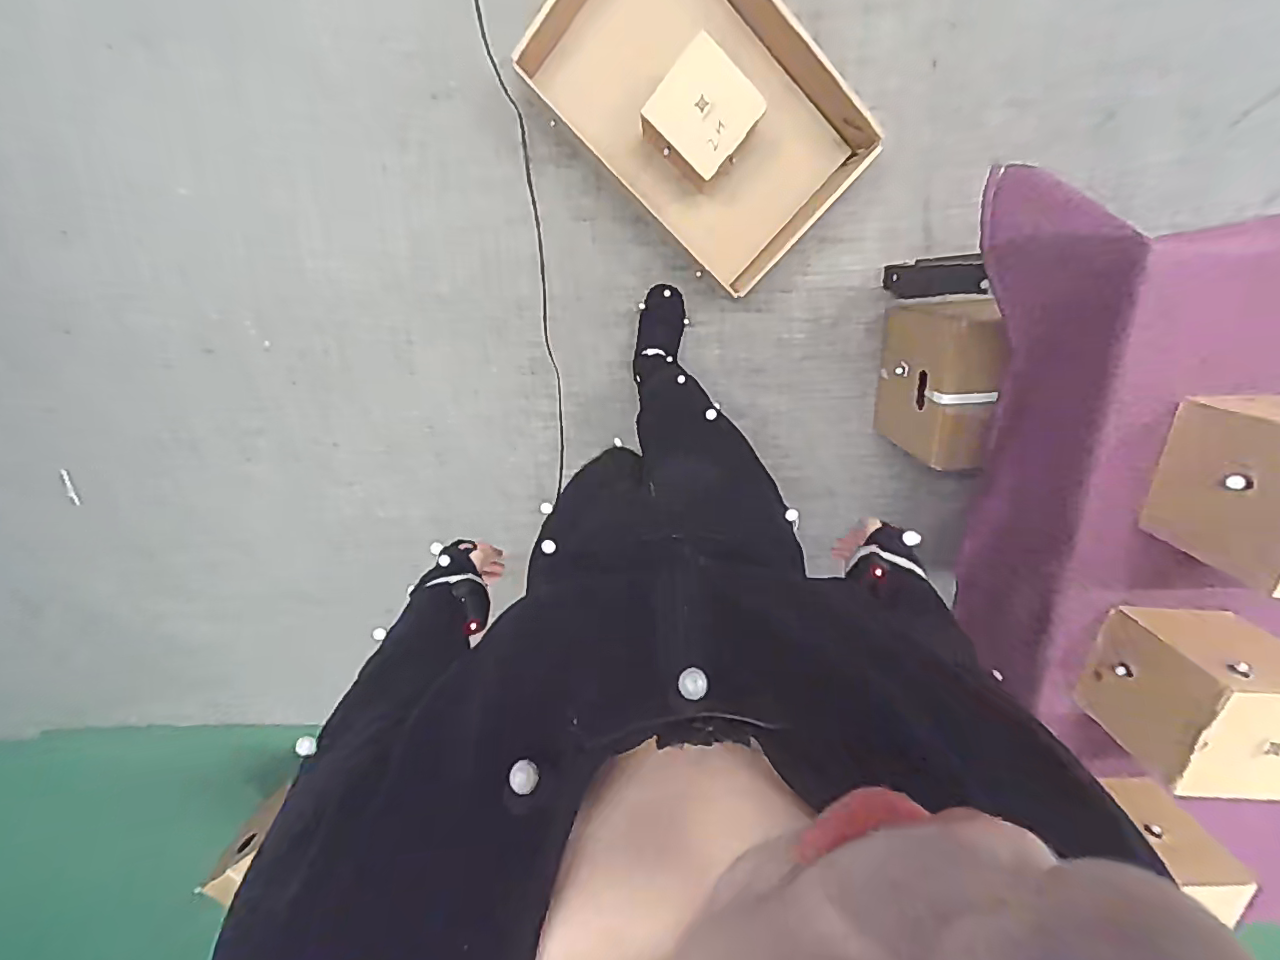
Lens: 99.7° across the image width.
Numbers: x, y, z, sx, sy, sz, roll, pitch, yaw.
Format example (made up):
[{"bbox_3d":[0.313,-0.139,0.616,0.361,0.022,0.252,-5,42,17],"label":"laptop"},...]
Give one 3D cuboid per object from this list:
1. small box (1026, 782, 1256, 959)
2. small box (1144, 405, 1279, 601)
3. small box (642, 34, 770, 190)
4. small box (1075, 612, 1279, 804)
[{"bbox_3d":[0.741,0.590,0.827,0.179,0.176,0.168,-1,111,0],"label":"small box"},{"bbox_3d":[0.727,0.015,0.602,0.168,0.176,0.179,-1,111,2],"label":"small box"},{"bbox_3d":[0.122,-0.701,1.058,0.179,0.176,0.168,41,108,-13],"label":"small box"},{"bbox_3d":[0.741,0.291,0.712,0.179,0.176,0.168,4,111,0],"label":"small box"}]
